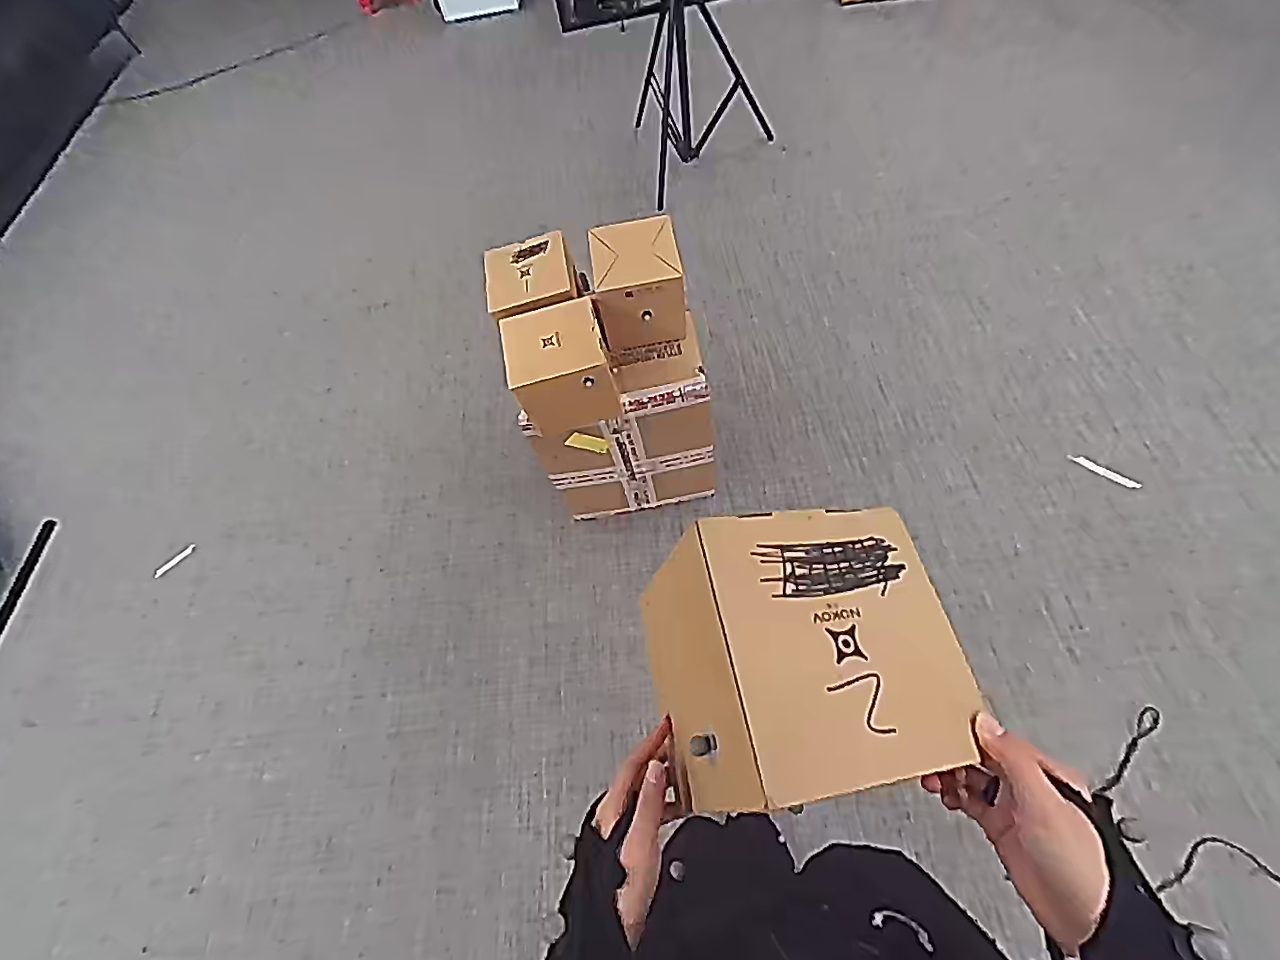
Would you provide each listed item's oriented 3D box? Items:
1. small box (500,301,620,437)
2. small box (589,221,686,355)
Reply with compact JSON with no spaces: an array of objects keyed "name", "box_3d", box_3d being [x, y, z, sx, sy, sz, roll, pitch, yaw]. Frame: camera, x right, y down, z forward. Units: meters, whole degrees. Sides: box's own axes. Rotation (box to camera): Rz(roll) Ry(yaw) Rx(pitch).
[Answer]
[{"name":"small box","box_3d":[-0.149,-0.204,1.033,0.179,0.176,0.168,-15,63,1]},{"name":"small box","box_3d":[-0.004,-0.388,1.099,0.168,0.176,0.179,-9,62,1]}]
